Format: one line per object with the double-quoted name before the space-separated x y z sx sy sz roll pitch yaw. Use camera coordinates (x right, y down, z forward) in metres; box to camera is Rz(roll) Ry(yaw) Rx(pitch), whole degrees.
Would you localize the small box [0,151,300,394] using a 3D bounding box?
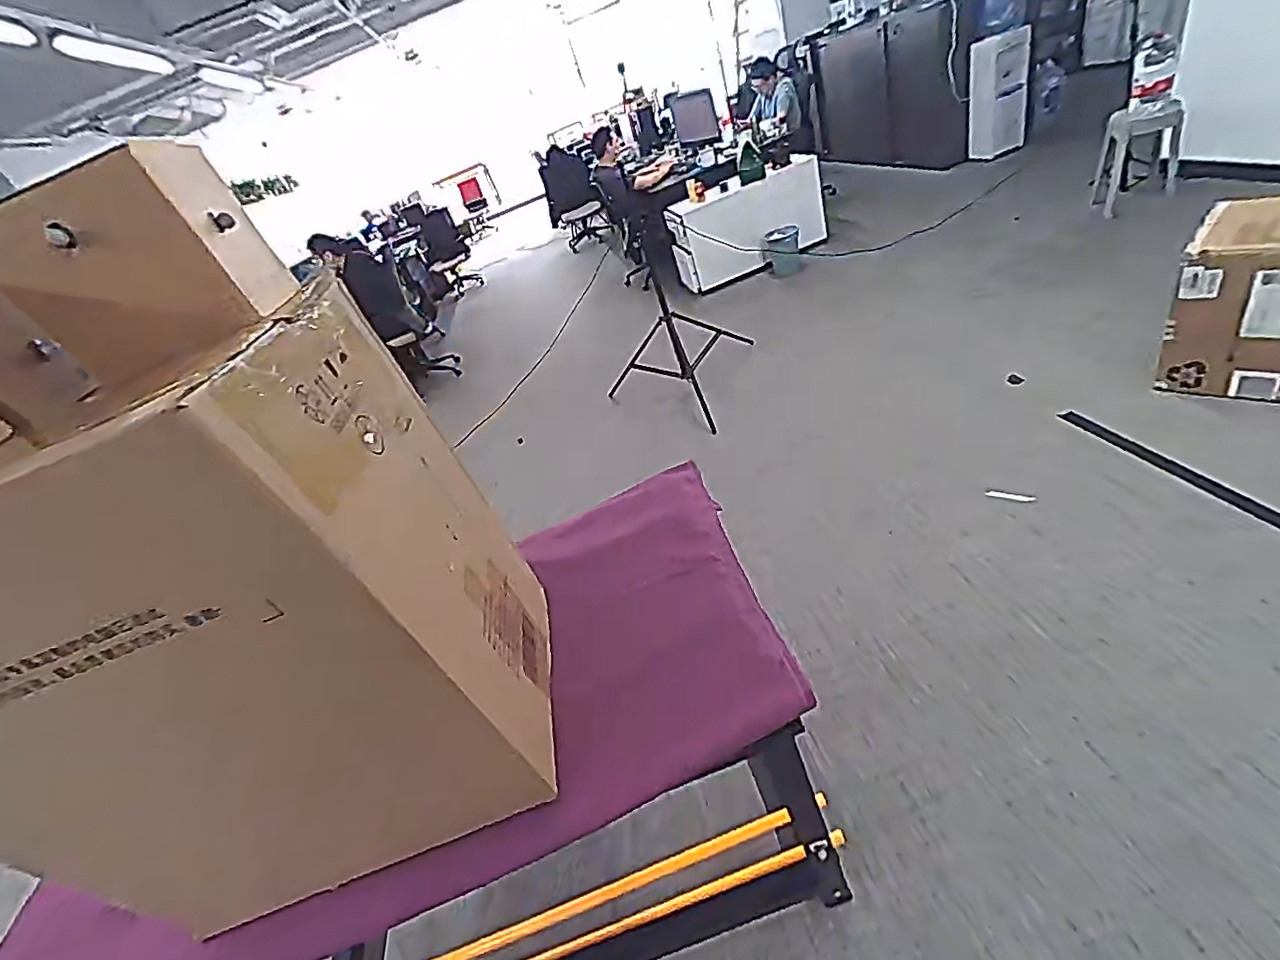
"small box" -0.504 -0.220 0.569 0.179 0.176 0.168 -27 34 -2
